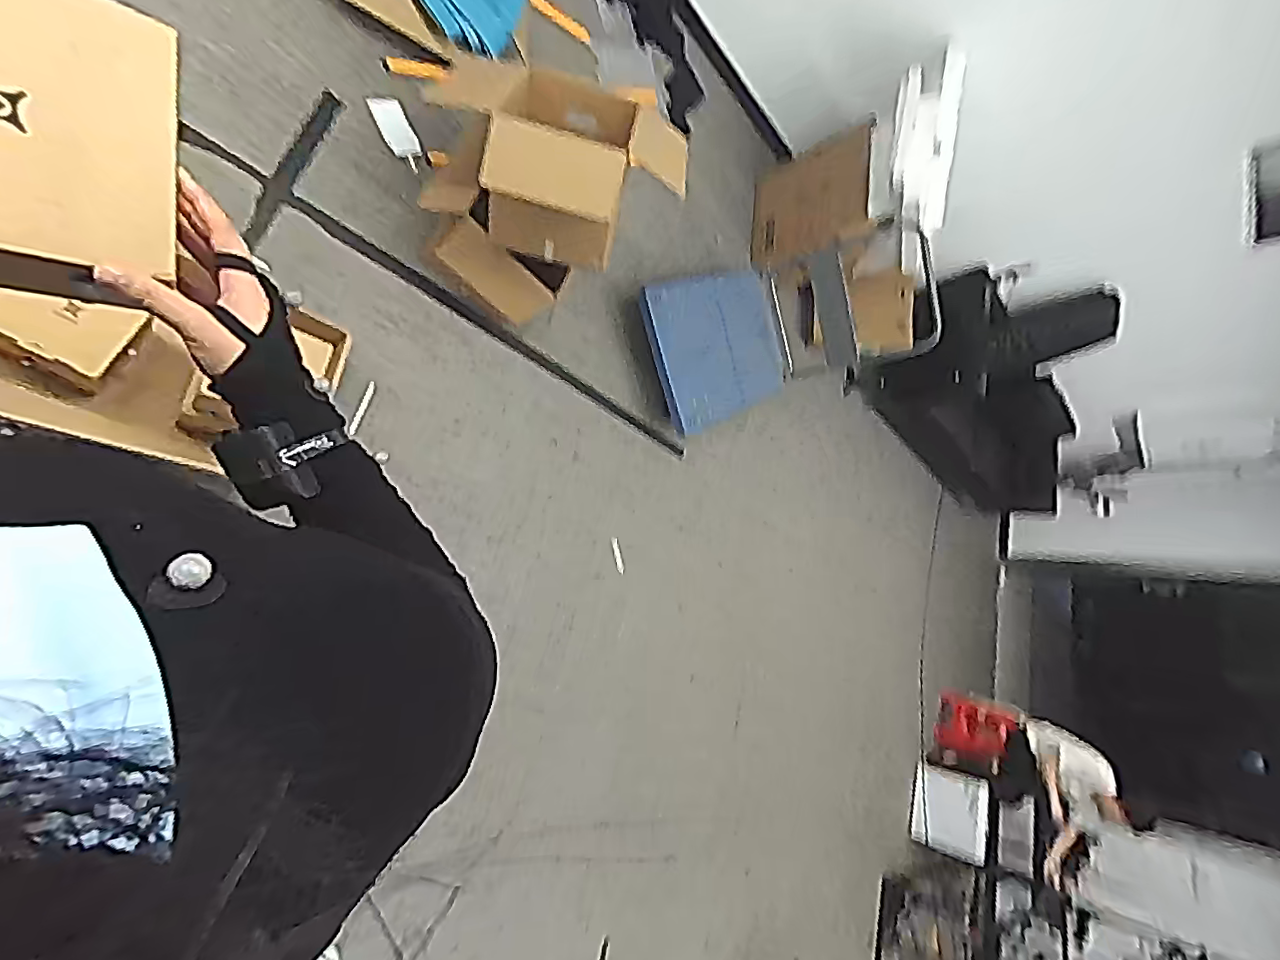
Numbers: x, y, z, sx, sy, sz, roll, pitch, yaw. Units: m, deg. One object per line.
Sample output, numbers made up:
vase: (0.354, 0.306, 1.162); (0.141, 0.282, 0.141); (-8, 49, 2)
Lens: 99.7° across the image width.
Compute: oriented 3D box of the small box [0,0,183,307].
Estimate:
small box: (-0.426, -0.221, 0.362); (0.179, 0.176, 0.168); (0, 95, -42)

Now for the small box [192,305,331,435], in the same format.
small box: (-0.732, -0.199, 1.044); (0.168, 0.176, 0.179); (25, 69, -40)

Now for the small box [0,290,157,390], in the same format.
small box: (-1.039, -0.287, 0.985); (0.168, 0.176, 0.179); (37, 62, -37)
